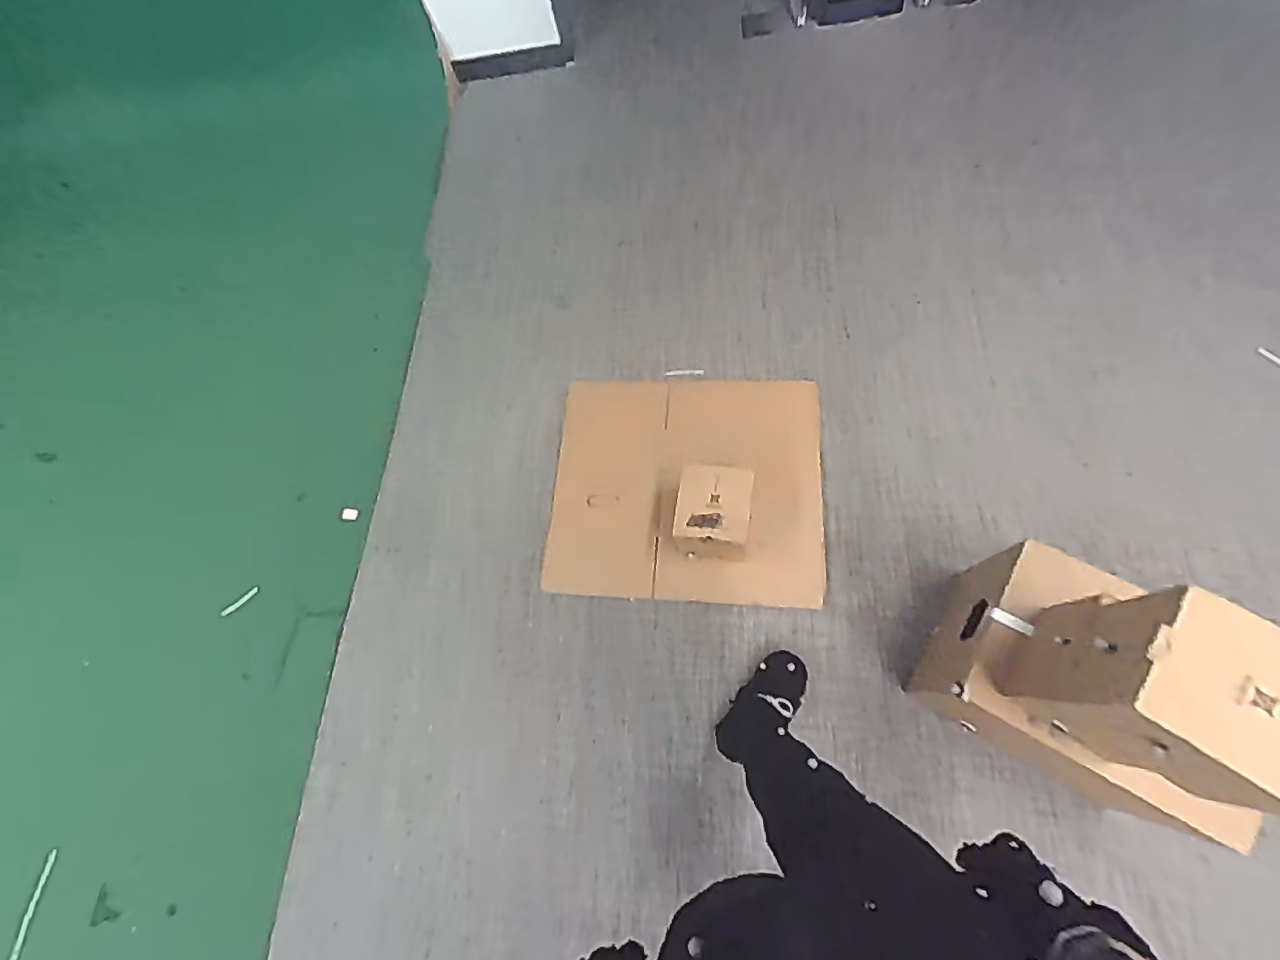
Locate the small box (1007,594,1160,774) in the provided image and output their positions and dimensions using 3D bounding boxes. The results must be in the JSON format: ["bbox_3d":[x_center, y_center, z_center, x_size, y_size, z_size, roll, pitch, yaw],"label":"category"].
[{"bbox_3d":[0.681,0.294,0.789,0.168,0.176,0.179,30,79,21],"label":"small box"}]

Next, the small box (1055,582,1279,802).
[{"bbox_3d":[0.645,0.250,0.637,0.179,0.176,0.168,31,76,20],"label":"small box"}]

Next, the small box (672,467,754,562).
[{"bbox_3d":[0.180,0.087,1.278,0.168,0.176,0.179,6,68,13],"label":"small box"}]
